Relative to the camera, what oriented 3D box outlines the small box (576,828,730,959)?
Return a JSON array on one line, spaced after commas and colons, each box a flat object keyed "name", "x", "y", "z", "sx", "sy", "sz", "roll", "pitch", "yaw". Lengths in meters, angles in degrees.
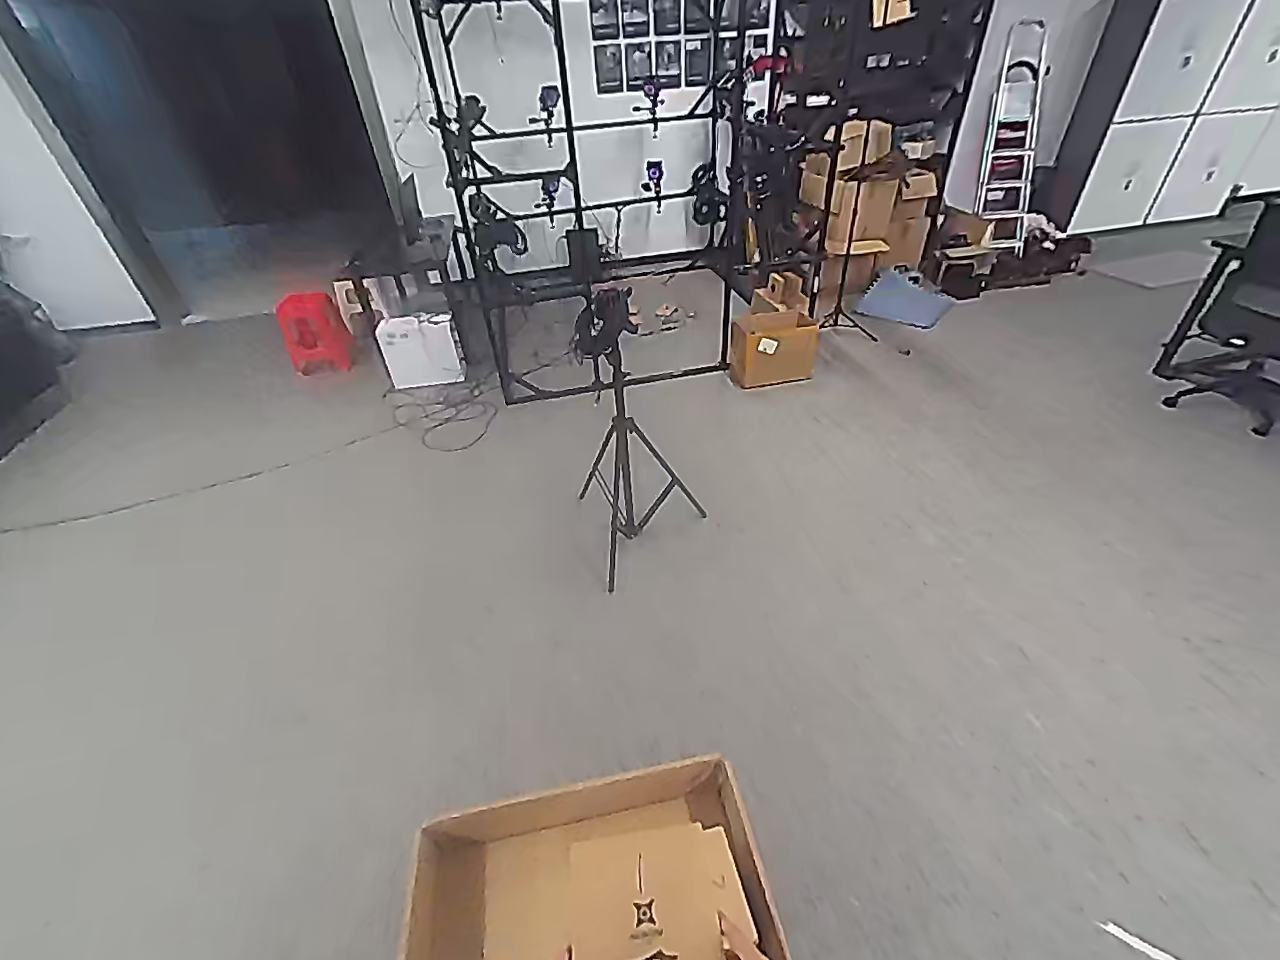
[{"name": "small box", "x": 0.020, "y": 0.549, "z": 0.648, "sx": 0.168, "sy": 0.176, "sz": 0.179, "roll": -8, "pitch": 43, "yaw": -2}]
